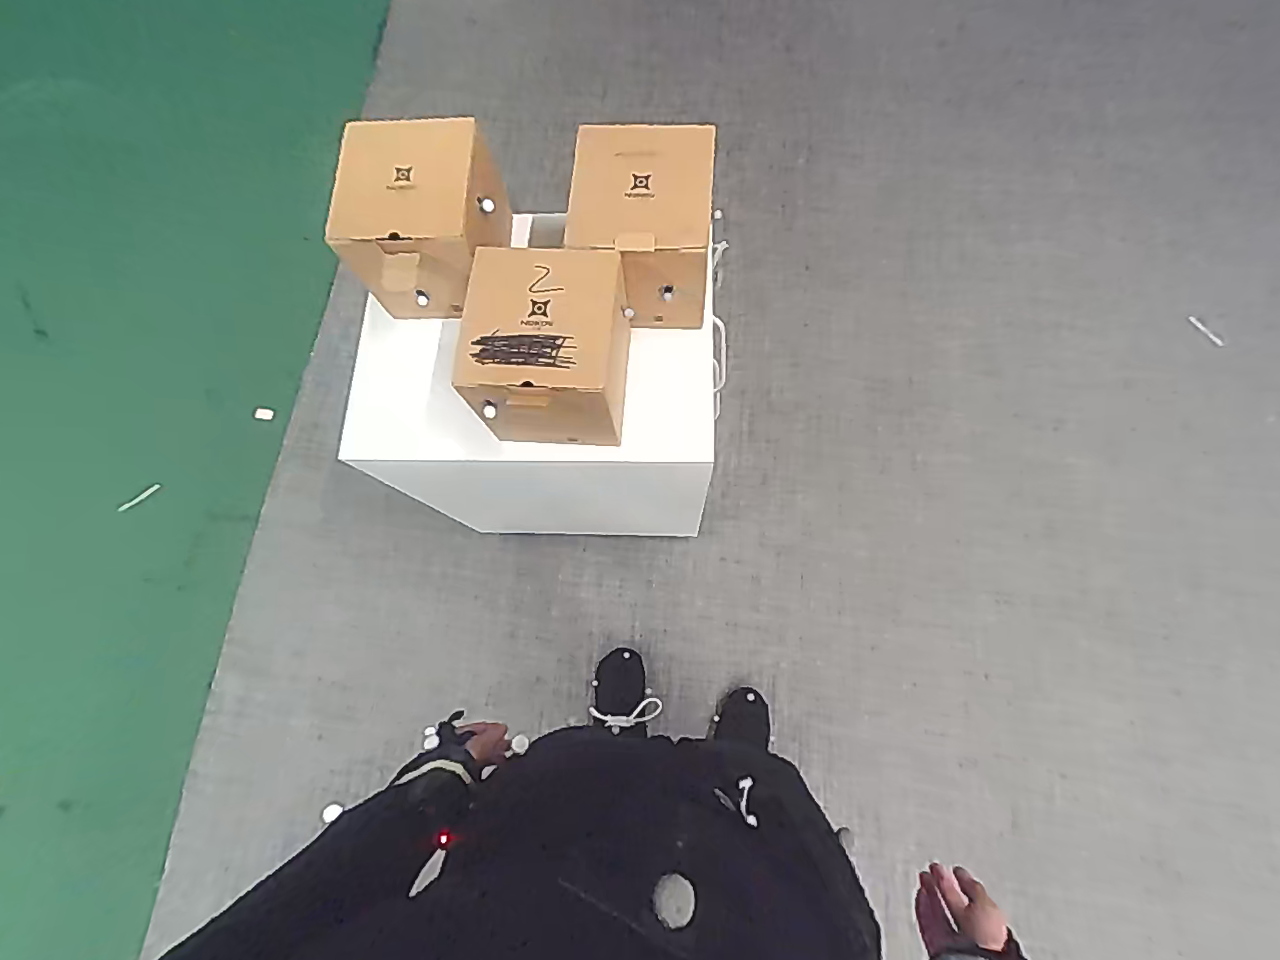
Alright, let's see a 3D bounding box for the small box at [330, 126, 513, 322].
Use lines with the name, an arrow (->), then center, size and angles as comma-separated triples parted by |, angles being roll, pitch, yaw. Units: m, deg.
small box -> -0.276, -0.334, 0.725 | 0.168, 0.176, 0.179 | 0, 75, 3
